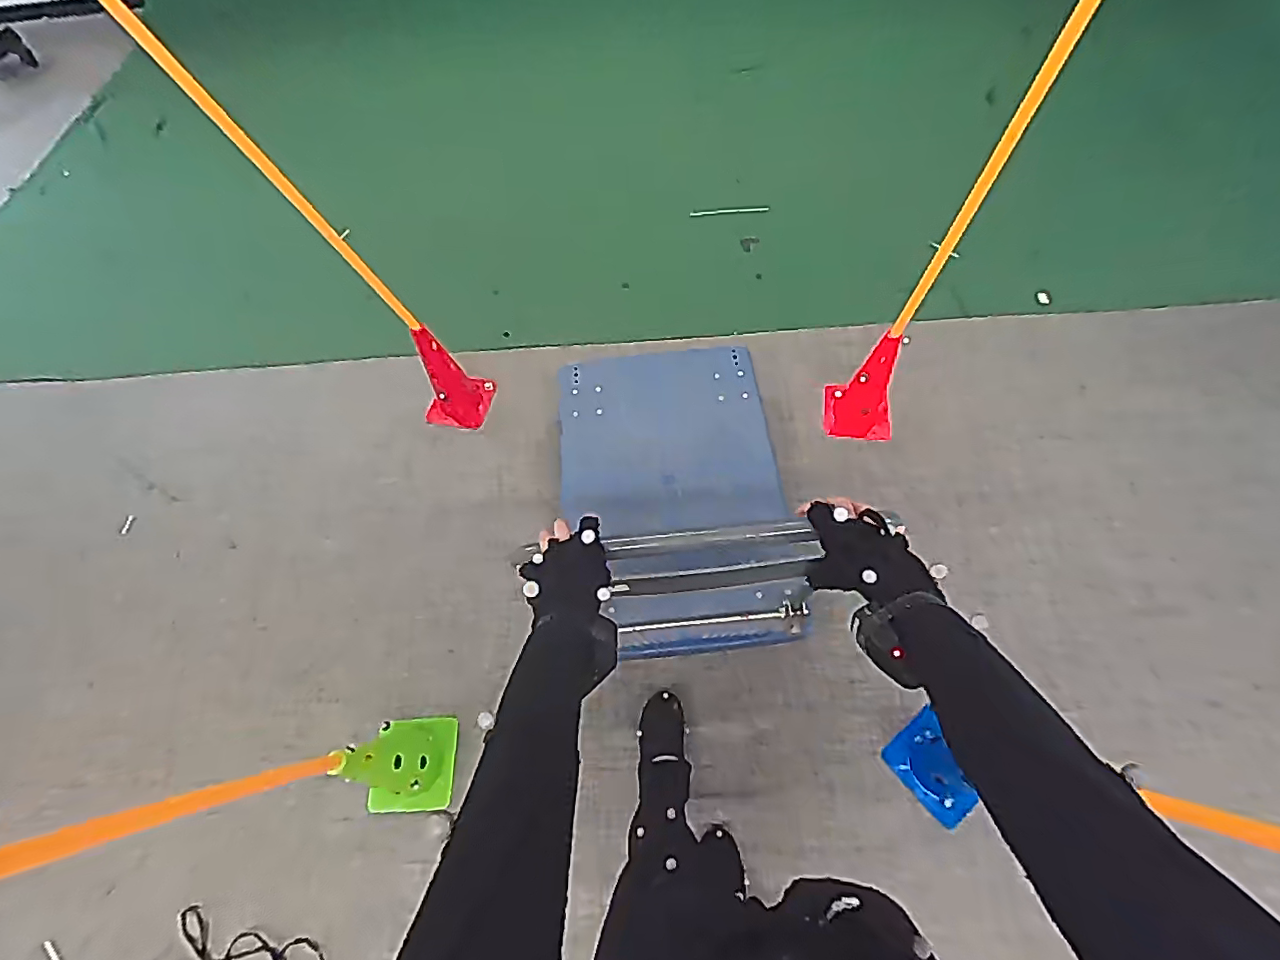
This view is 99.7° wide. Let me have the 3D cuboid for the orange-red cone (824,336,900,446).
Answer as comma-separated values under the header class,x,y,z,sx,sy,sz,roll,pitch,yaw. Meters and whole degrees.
class,x,y,z,sx,sy,sz,roll,pitch,yaw
orange-red cone,0.672,-0.277,1.557,0.198,0.360,0.199,7,63,9
